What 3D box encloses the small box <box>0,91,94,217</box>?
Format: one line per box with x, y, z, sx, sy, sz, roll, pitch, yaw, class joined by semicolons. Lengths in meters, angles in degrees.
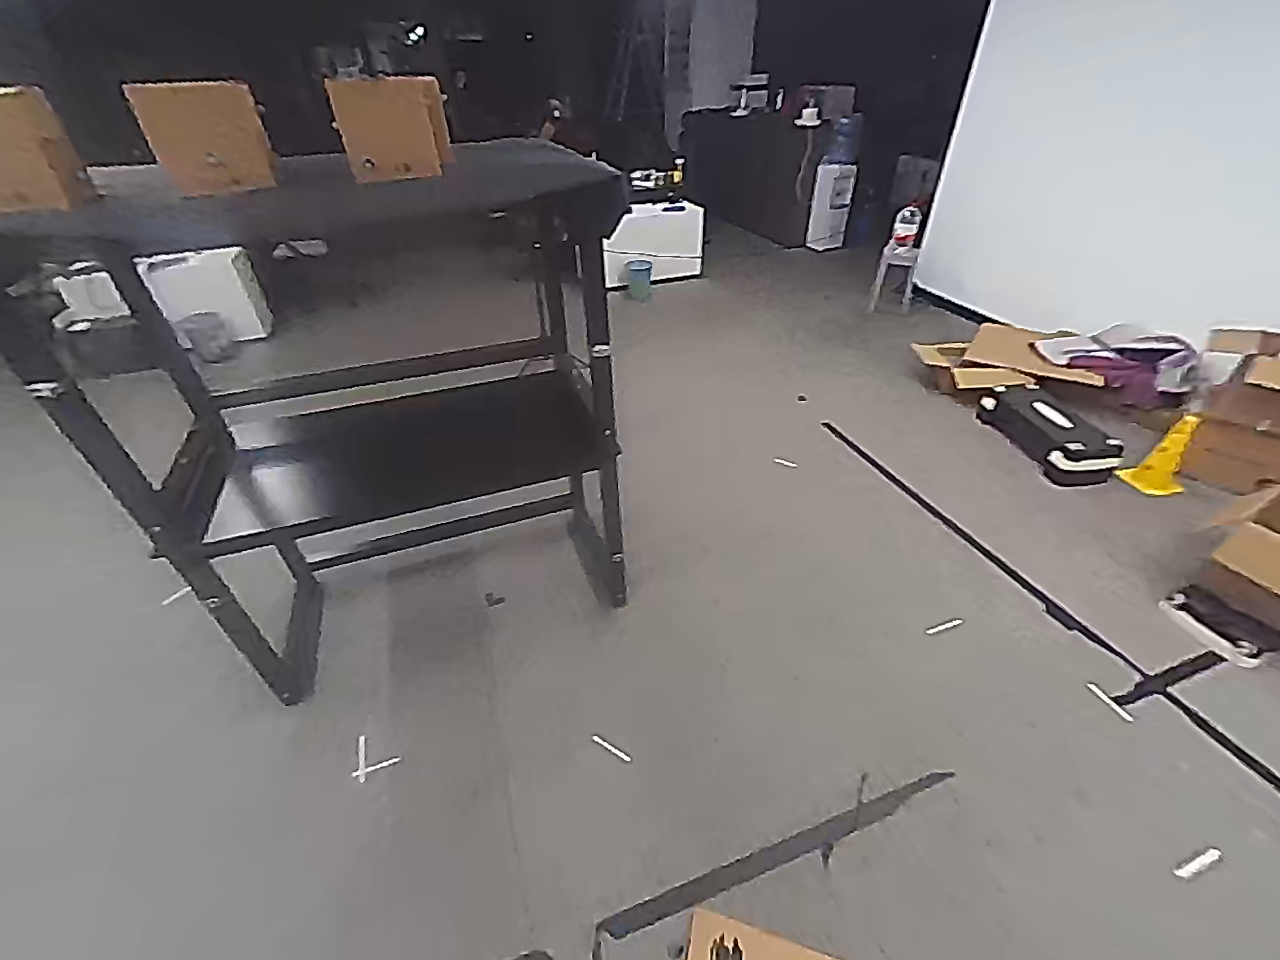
-1.088;-0.551;0.914;0.168;0.176;0.179;-18;41;-21;small box

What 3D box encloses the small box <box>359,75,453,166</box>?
-0.548;-0.846;1.273;0.168;0.176;0.179;-14;40;-14;small box

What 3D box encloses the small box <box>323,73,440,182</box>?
-0.513;-0.710;1.091;0.168;0.176;0.179;-15;38;-16;small box
